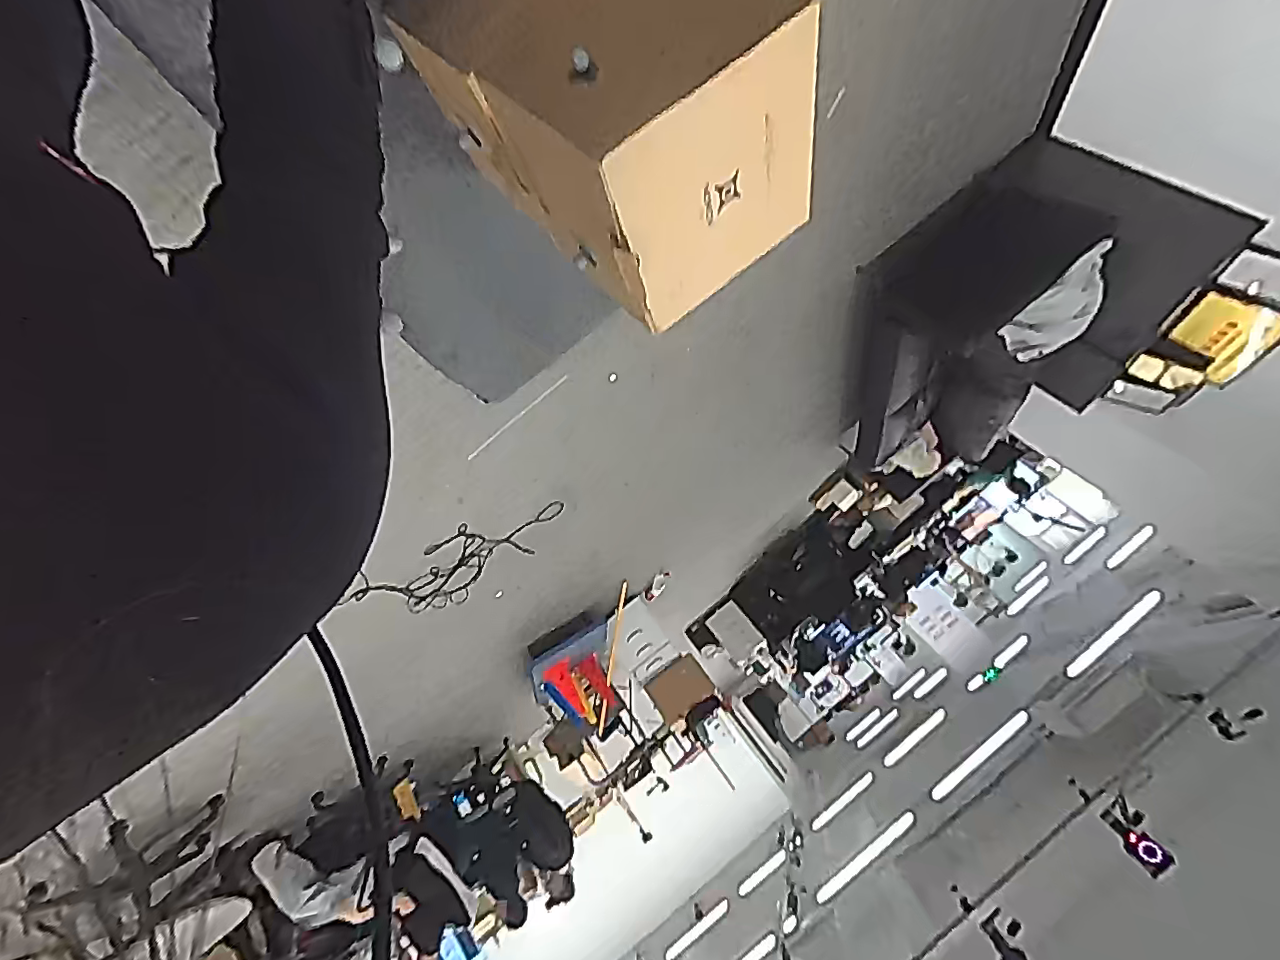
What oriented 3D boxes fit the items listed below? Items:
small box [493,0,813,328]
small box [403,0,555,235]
[{"bbox_3d":[0.009,-0.265,0.427,0.179,0.176,0.168,-40,154,-5],"label":"small box"},{"bbox_3d":[-0.088,-0.376,0.497,0.179,0.176,0.168,-40,153,-1],"label":"small box"}]
